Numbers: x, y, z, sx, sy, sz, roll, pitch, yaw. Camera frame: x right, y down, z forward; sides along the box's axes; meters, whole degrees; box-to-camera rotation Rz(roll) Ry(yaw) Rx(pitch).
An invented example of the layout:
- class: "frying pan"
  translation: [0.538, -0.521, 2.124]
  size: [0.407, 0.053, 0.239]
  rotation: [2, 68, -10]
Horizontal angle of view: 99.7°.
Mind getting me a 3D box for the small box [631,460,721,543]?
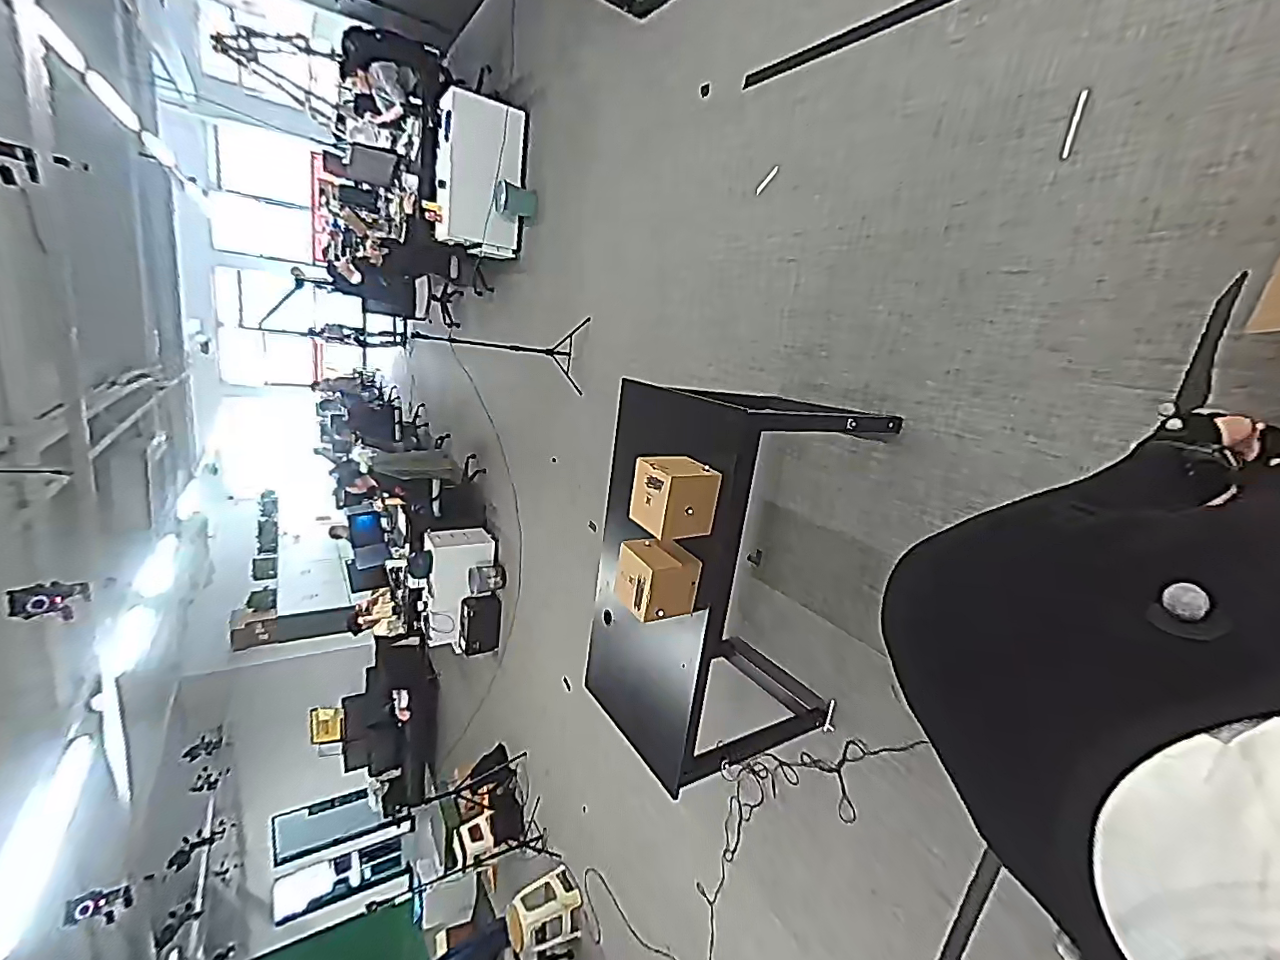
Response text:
- class: "small box"
  translation: [0.097, 0.049, 1.455]
  size: [0.168, 0.176, 0.179]
  rotation: [32, 120, 53]
